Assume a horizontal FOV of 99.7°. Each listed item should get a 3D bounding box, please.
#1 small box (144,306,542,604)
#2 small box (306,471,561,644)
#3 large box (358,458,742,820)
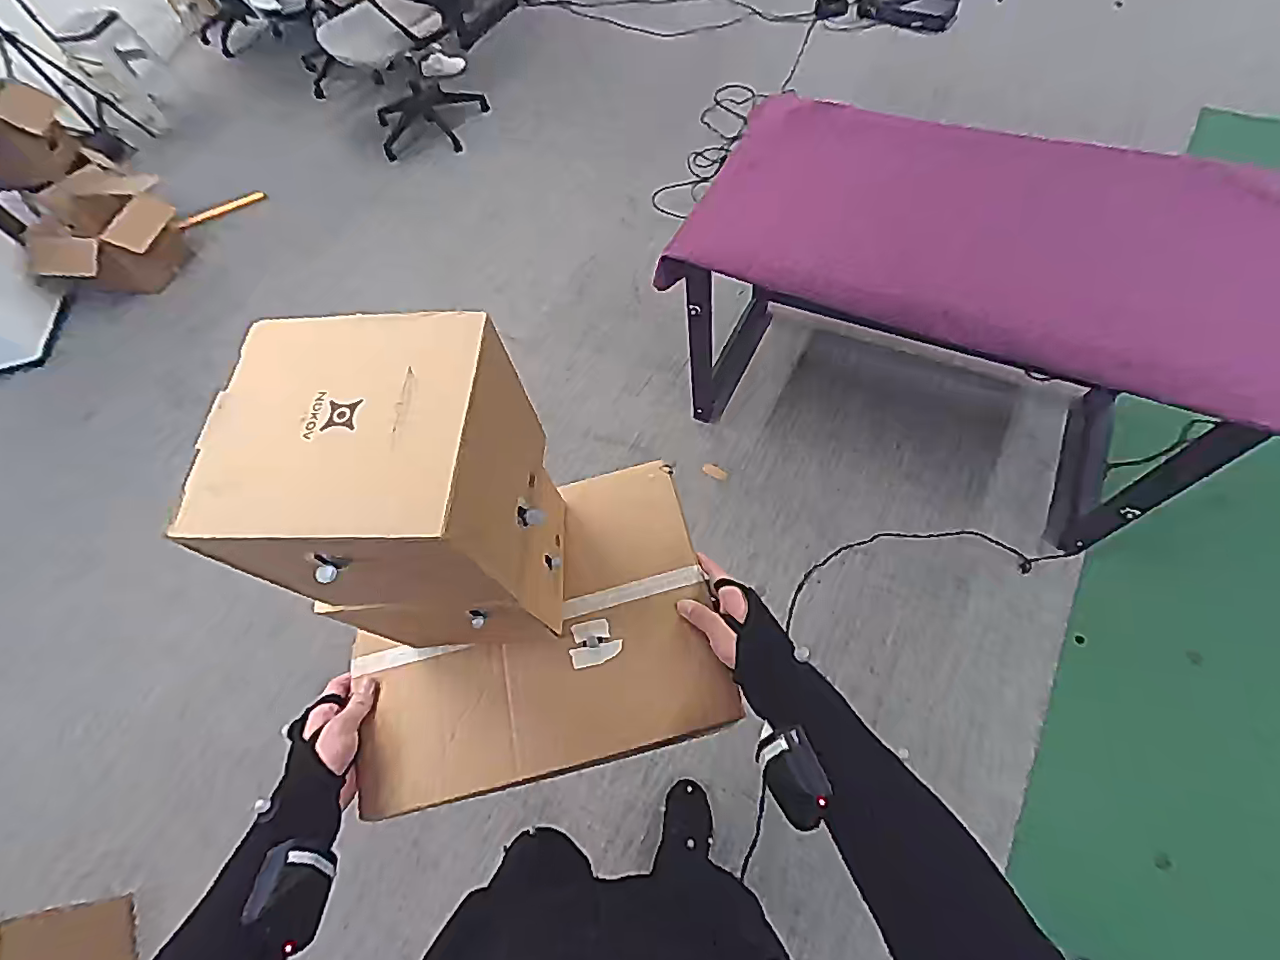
[{"bbox_3d":[-0.188,-0.007,0.407,0.179,0.176,0.168,0,64,6],"label":"small box"},{"bbox_3d":[-0.189,0.067,0.553,0.179,0.176,0.168,-5,63,4],"label":"small box"},{"bbox_3d":[-0.110,0.220,0.740,0.408,0.320,0.320,-15,64,-2],"label":"large box"}]
